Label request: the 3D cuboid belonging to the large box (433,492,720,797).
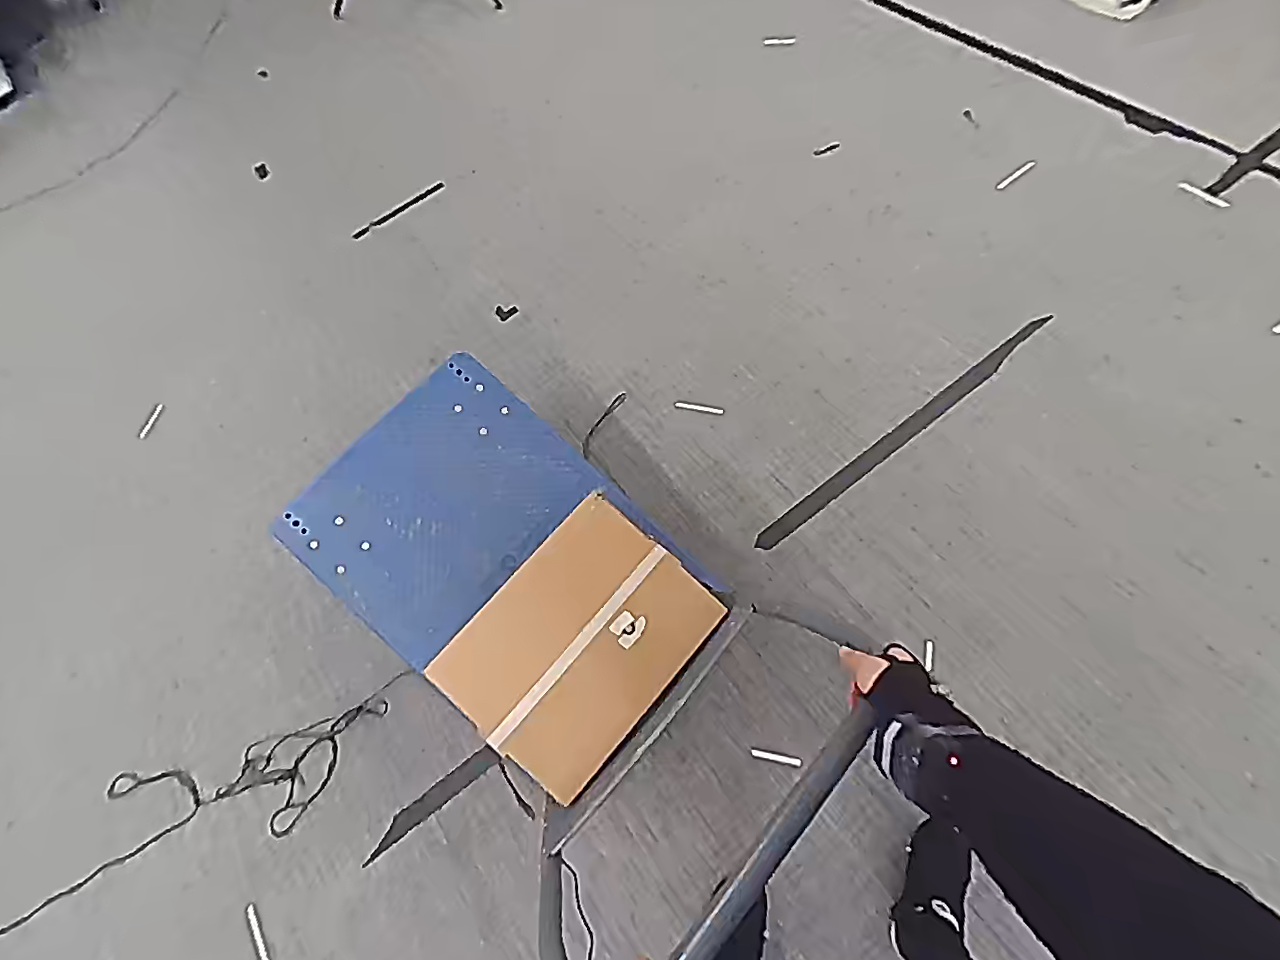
[{"bbox_3d":[-0.114,0.293,1.048,0.320,0.320,0.408,41,77,2],"label":"large box"}]
